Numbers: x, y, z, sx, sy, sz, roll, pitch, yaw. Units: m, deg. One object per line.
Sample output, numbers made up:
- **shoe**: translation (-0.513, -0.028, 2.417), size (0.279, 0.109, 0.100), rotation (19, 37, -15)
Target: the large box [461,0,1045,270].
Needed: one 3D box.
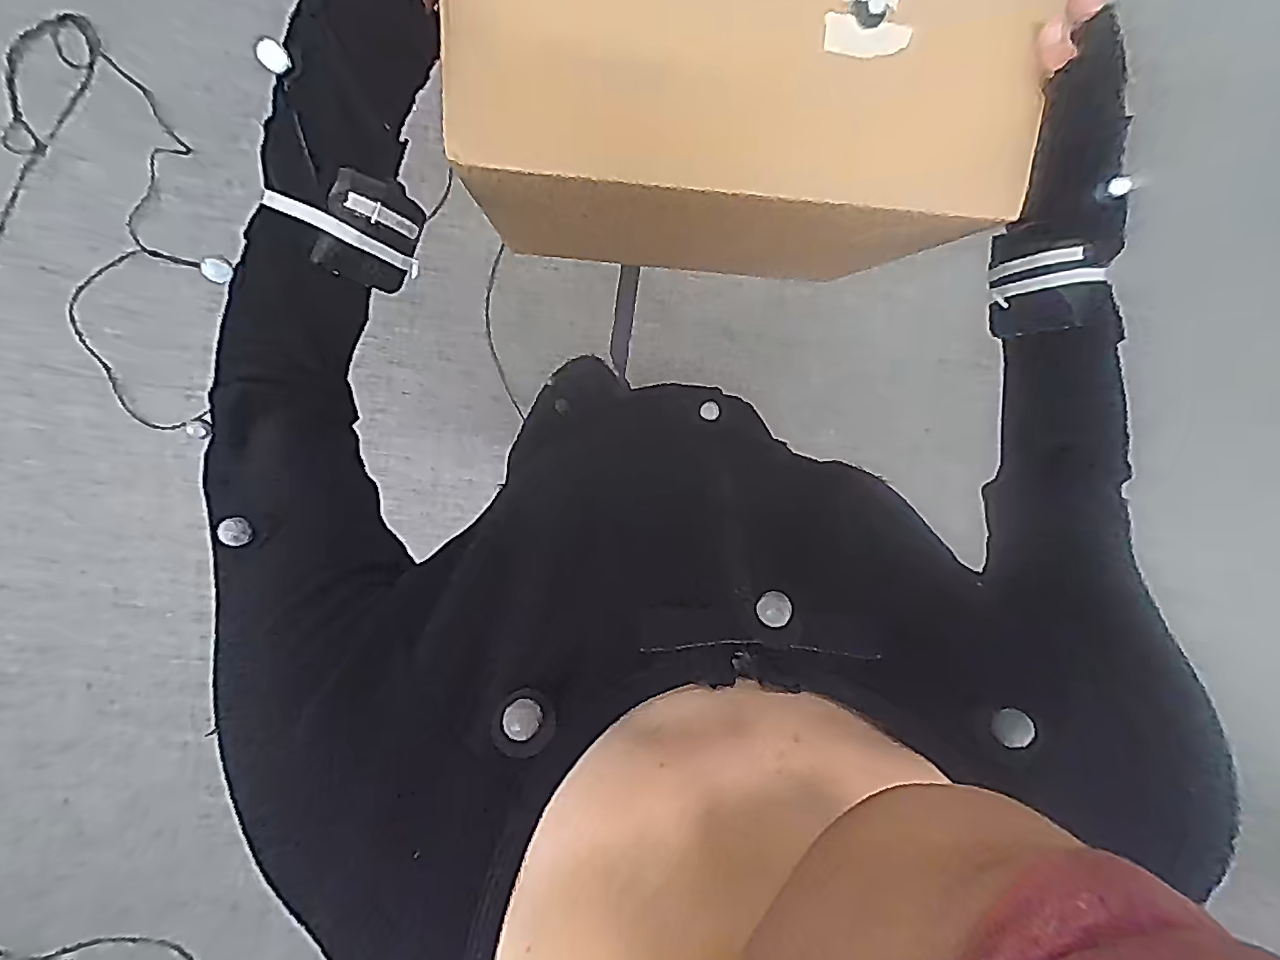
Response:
- **large box**: translation (0.068, -0.389, 0.495), size (0.408, 0.320, 0.320), rotation (2, 103, -7)
